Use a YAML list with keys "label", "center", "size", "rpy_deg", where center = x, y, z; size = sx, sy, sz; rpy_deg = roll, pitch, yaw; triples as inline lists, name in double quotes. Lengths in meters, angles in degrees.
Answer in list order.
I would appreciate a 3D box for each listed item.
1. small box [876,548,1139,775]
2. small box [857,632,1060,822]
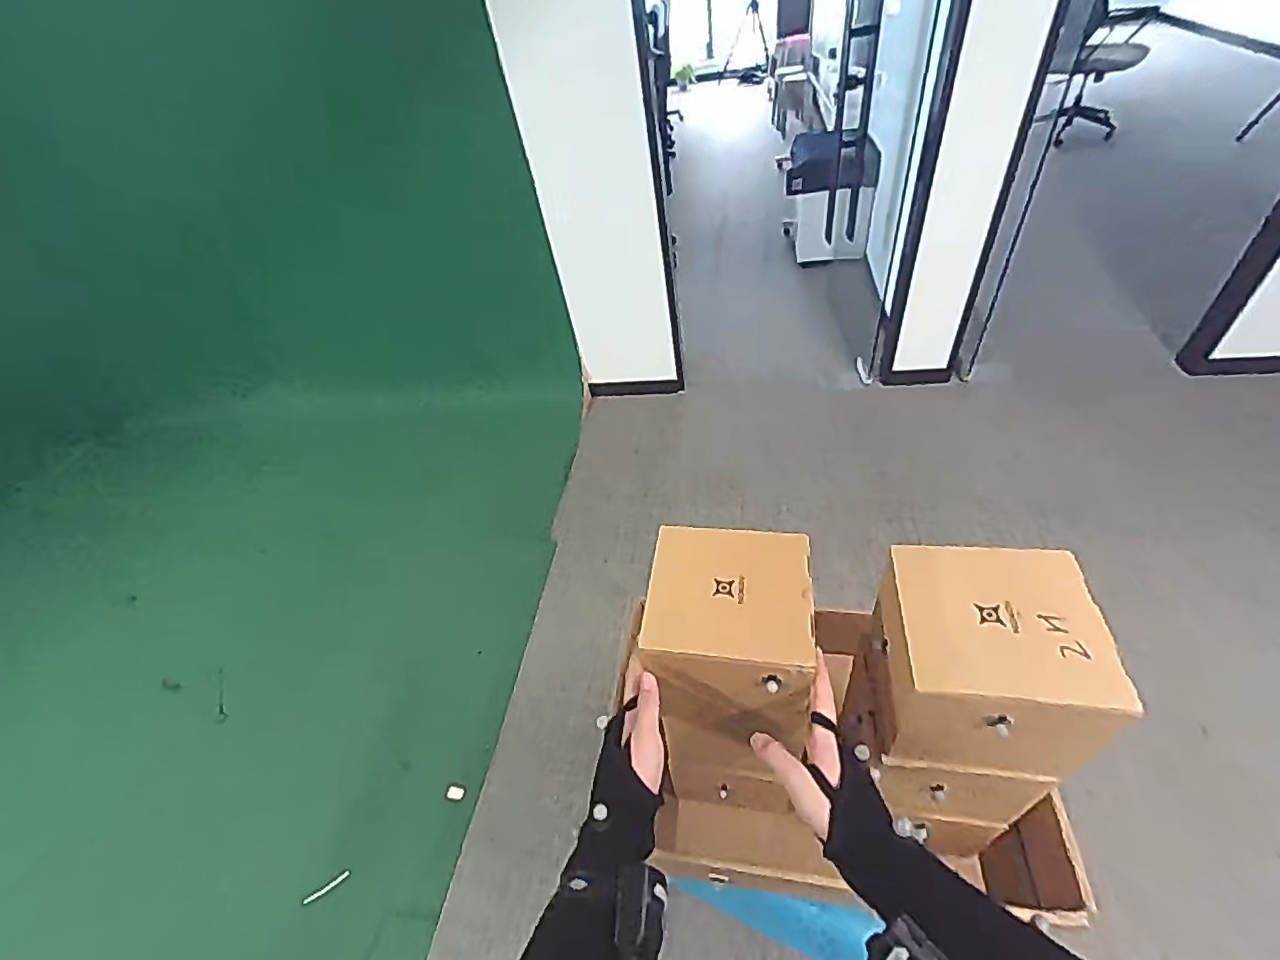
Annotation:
- label: "small box"
  center: [0.353, 0.189, 0.569]
  size: [0.179, 0.176, 0.168]
  rpy_deg: [1, 46, 15]
- label: "small box"
  center: [0.374, 0.309, 0.680]
  size: [0.179, 0.176, 0.168]
  rpy_deg: [-2, 45, 14]
